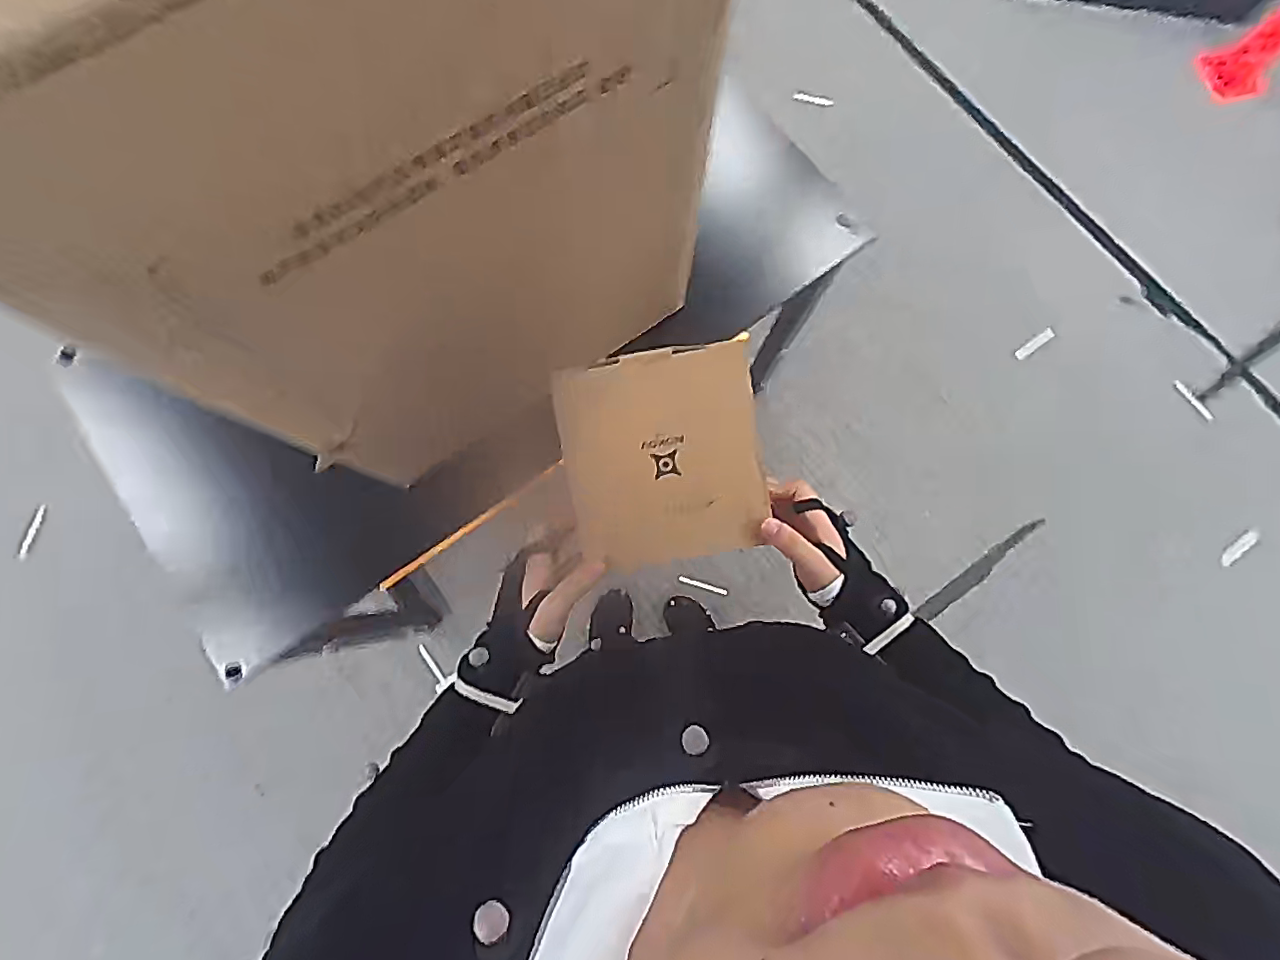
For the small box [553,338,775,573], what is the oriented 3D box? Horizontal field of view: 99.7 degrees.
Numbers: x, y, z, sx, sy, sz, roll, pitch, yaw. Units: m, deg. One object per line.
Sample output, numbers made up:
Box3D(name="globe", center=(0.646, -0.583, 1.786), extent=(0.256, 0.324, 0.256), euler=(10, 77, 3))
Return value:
Box3D(name="small box", center=(0.015, -0.024, 0.524), extent=(0.168, 0.176, 0.179), euler=(-10, 95, -3))
